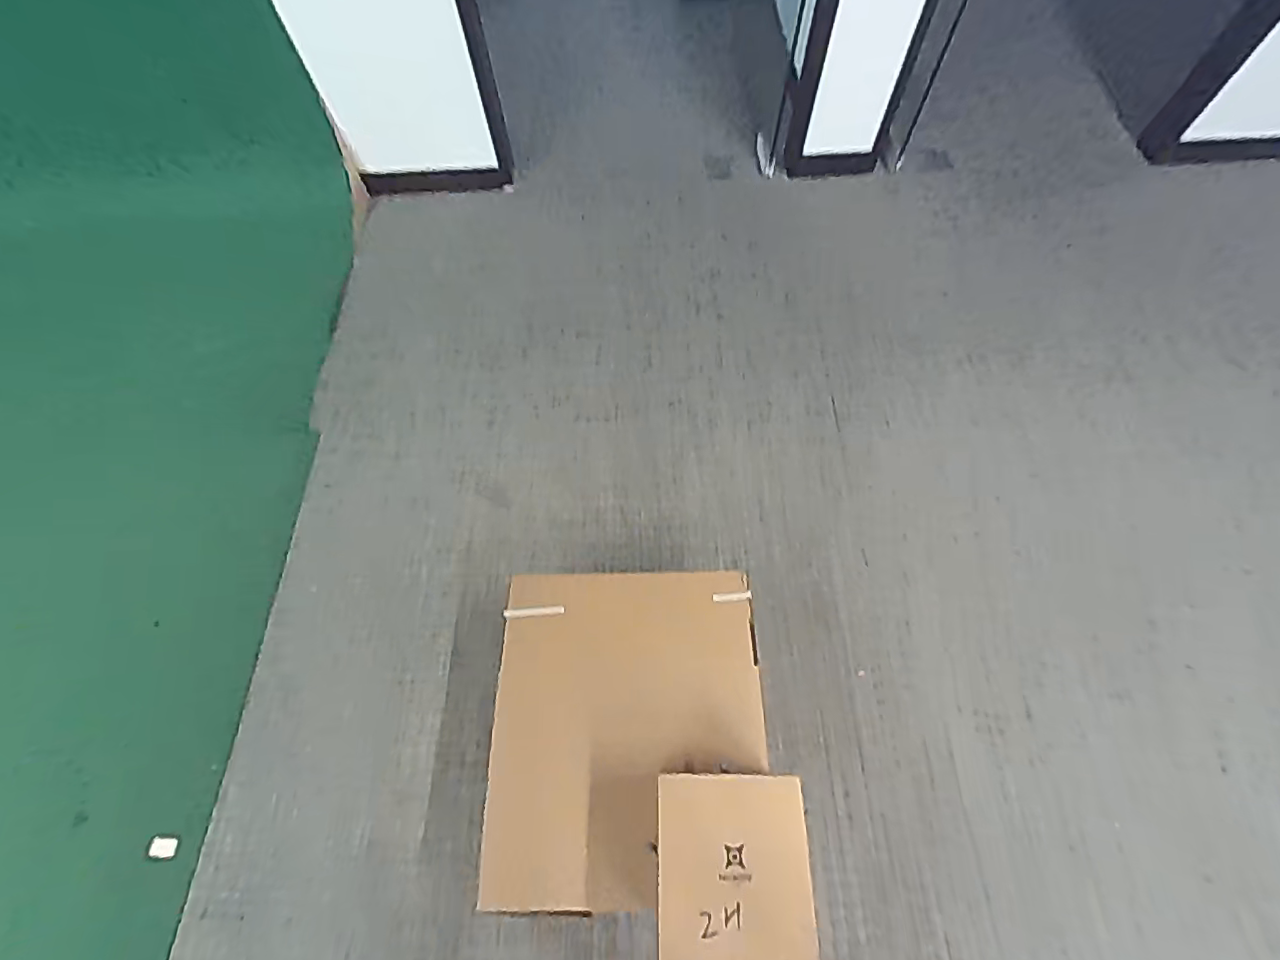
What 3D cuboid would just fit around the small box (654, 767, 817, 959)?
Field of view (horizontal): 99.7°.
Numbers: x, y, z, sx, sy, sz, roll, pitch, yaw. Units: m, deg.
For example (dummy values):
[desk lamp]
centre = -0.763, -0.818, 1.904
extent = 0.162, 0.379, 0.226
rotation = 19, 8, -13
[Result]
[small box]
centre = 0.102, 0.453, 0.662
extent = 0.168, 0.176, 0.179
rotation = 0, 63, 1
